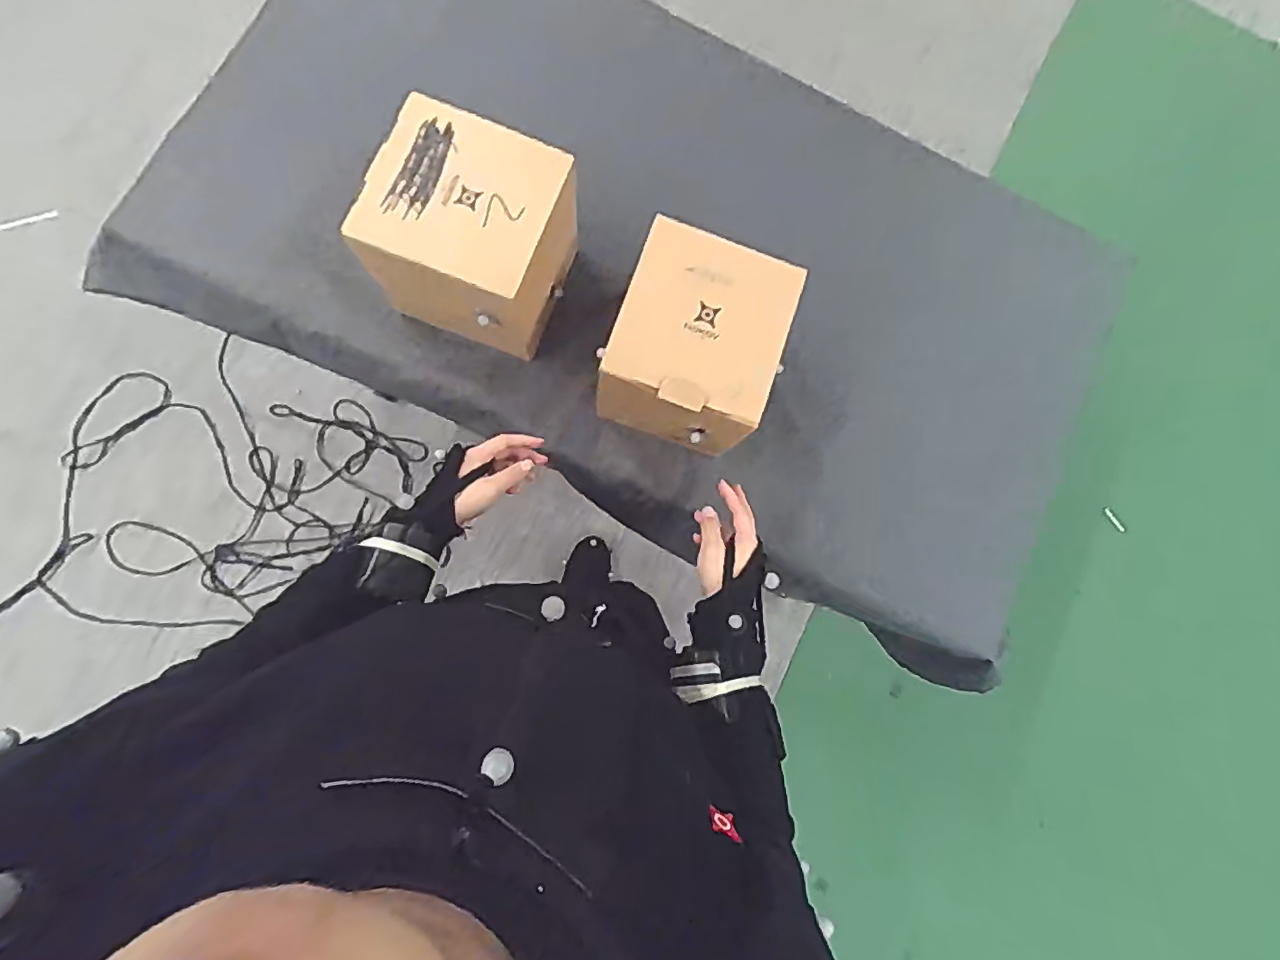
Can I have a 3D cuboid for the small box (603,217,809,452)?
[{"bbox_3d":[0.061,-0.146,0.609,0.168,0.176,0.179,19,80,-4],"label":"small box"}]
